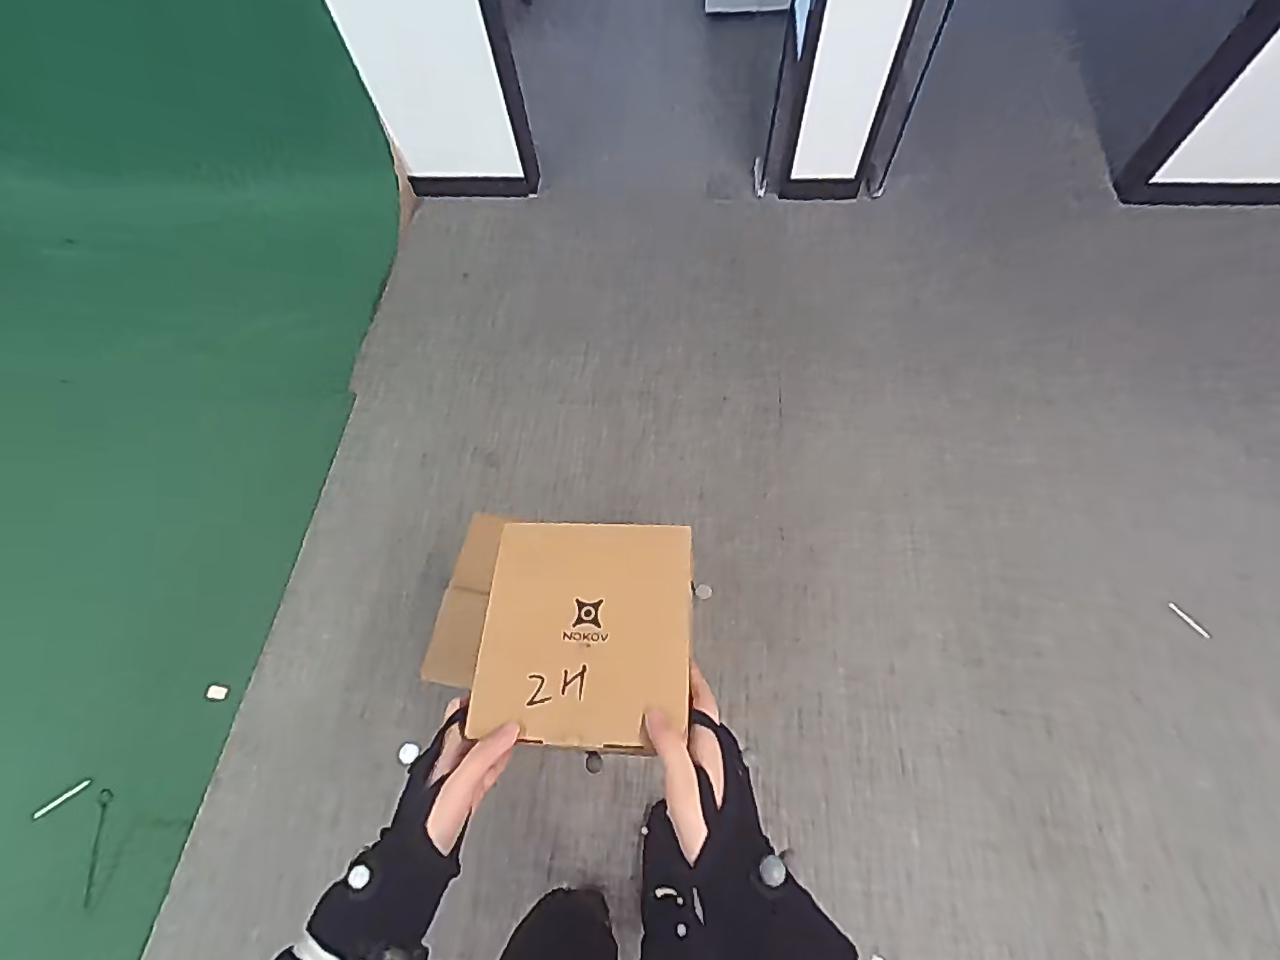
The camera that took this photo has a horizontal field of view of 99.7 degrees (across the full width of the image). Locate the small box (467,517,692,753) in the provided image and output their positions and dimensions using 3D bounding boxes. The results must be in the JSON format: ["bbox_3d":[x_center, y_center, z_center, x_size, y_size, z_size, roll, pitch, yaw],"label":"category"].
[{"bbox_3d":[-0.037,0.150,0.507,0.168,0.176,0.179,1,62,7],"label":"small box"}]
